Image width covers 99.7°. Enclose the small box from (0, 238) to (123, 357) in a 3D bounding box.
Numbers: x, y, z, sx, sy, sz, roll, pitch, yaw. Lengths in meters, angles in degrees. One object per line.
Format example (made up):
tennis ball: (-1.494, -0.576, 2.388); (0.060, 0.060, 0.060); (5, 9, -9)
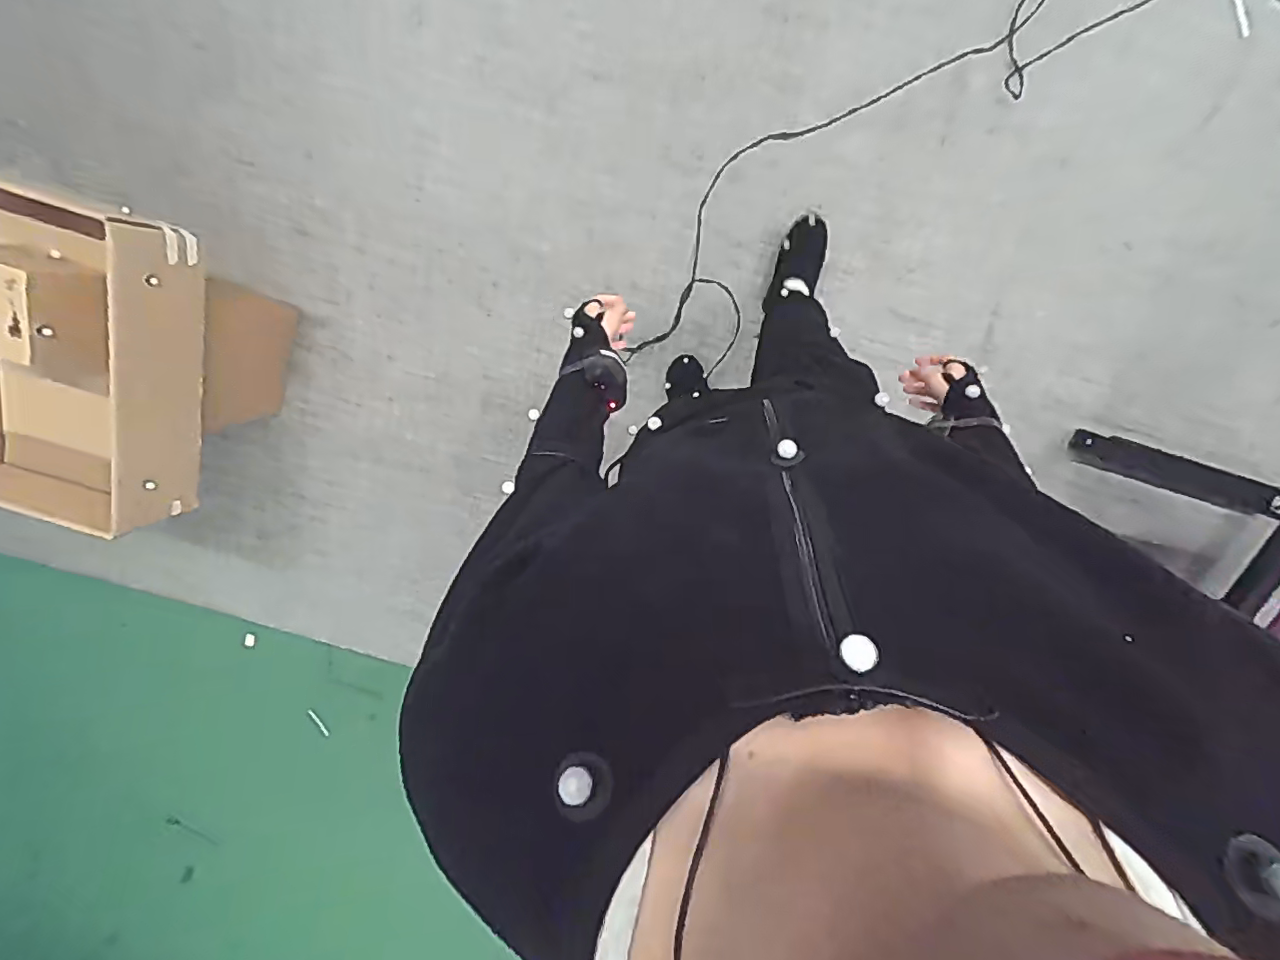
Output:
small box: (-1.105, -0.333, 0.980); (0.179, 0.176, 0.168); (19, 108, -1)
